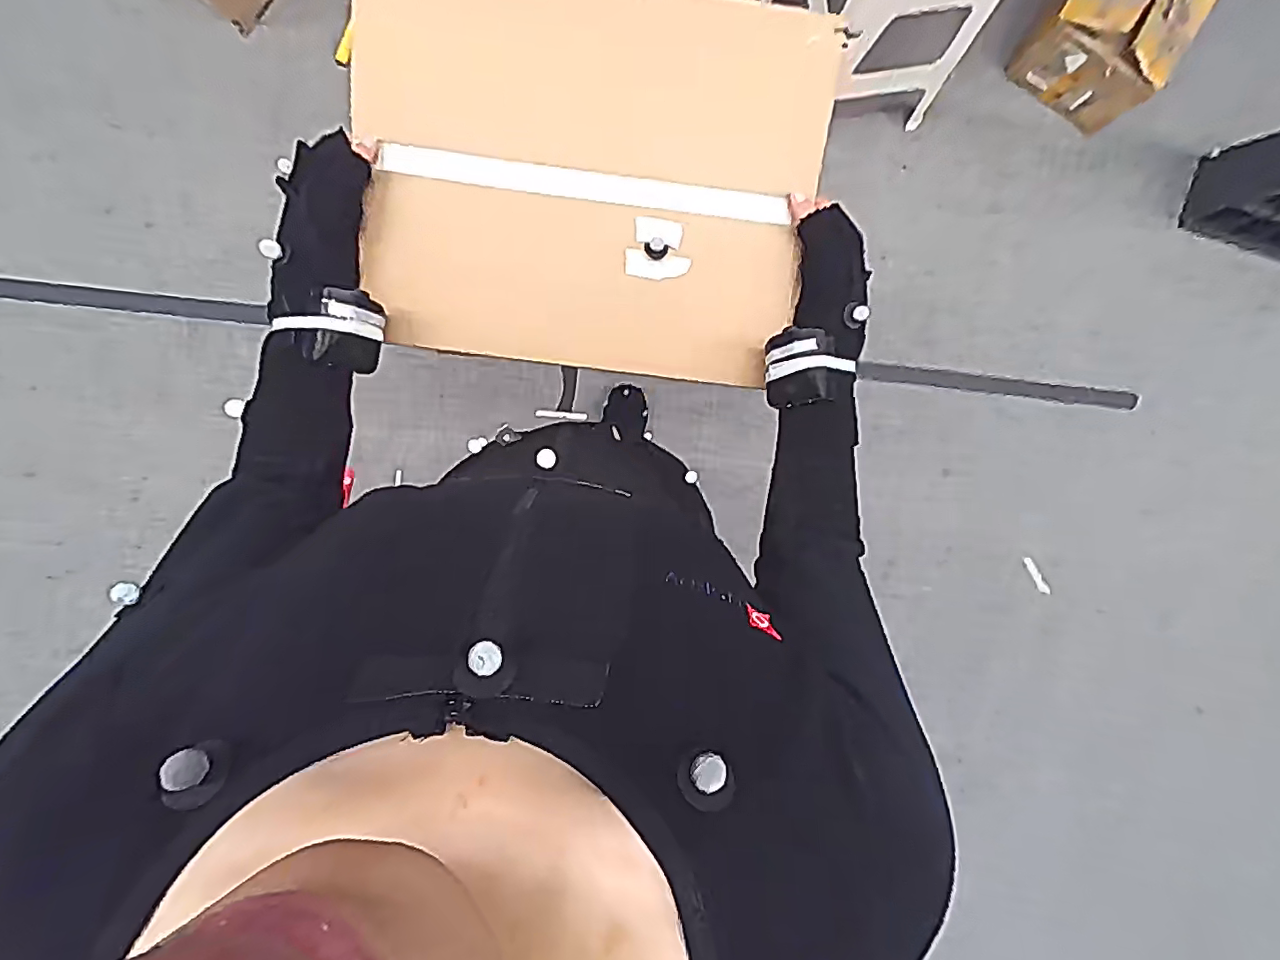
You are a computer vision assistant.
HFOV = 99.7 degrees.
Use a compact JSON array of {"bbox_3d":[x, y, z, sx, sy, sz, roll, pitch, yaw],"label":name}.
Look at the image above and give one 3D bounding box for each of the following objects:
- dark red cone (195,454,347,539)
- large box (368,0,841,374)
[{"bbox_3d":[-0.854,0.056,1.231,0.201,0.394,0.202,11,95,-5],"label":"dark red cone"},{"bbox_3d":[-0.047,-0.302,0.627,0.408,0.320,0.320,6,104,-4],"label":"large box"}]
